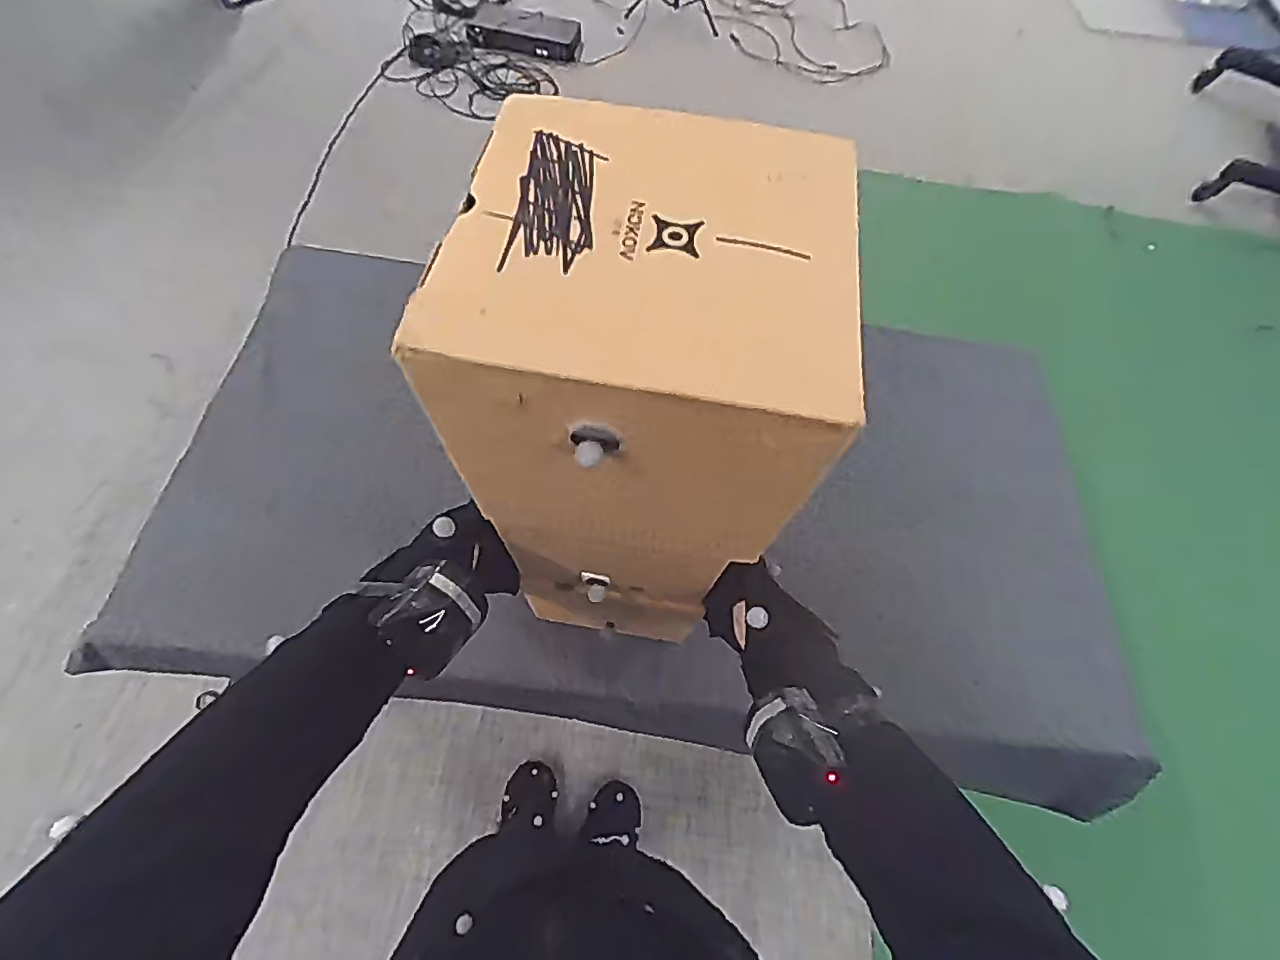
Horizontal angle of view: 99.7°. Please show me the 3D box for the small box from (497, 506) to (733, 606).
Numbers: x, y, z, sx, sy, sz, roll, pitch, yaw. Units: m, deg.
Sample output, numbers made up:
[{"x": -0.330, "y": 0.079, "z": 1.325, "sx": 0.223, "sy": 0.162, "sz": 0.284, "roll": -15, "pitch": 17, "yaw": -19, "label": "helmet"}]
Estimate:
[{"x": -0.010, "y": -0.006, "z": 0.466, "sx": 0.168, "sy": 0.176, "sz": 0.179, "roll": 8, "pitch": 64, "yaw": 1, "label": "small box"}]

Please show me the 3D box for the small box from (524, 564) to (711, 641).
[{"x": -0.017, "y": 0.076, "z": 0.607, "sx": 0.179, "sy": 0.176, "sz": 0.168, "roll": 9, "pitch": 63, "yaw": 0, "label": "small box"}]

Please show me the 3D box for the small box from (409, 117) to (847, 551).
[{"x": 0.003, "y": -0.070, "z": 0.315, "sx": 0.179, "sy": 0.176, "sz": 0.168, "roll": 9, "pitch": 63, "yaw": 1, "label": "small box"}]
